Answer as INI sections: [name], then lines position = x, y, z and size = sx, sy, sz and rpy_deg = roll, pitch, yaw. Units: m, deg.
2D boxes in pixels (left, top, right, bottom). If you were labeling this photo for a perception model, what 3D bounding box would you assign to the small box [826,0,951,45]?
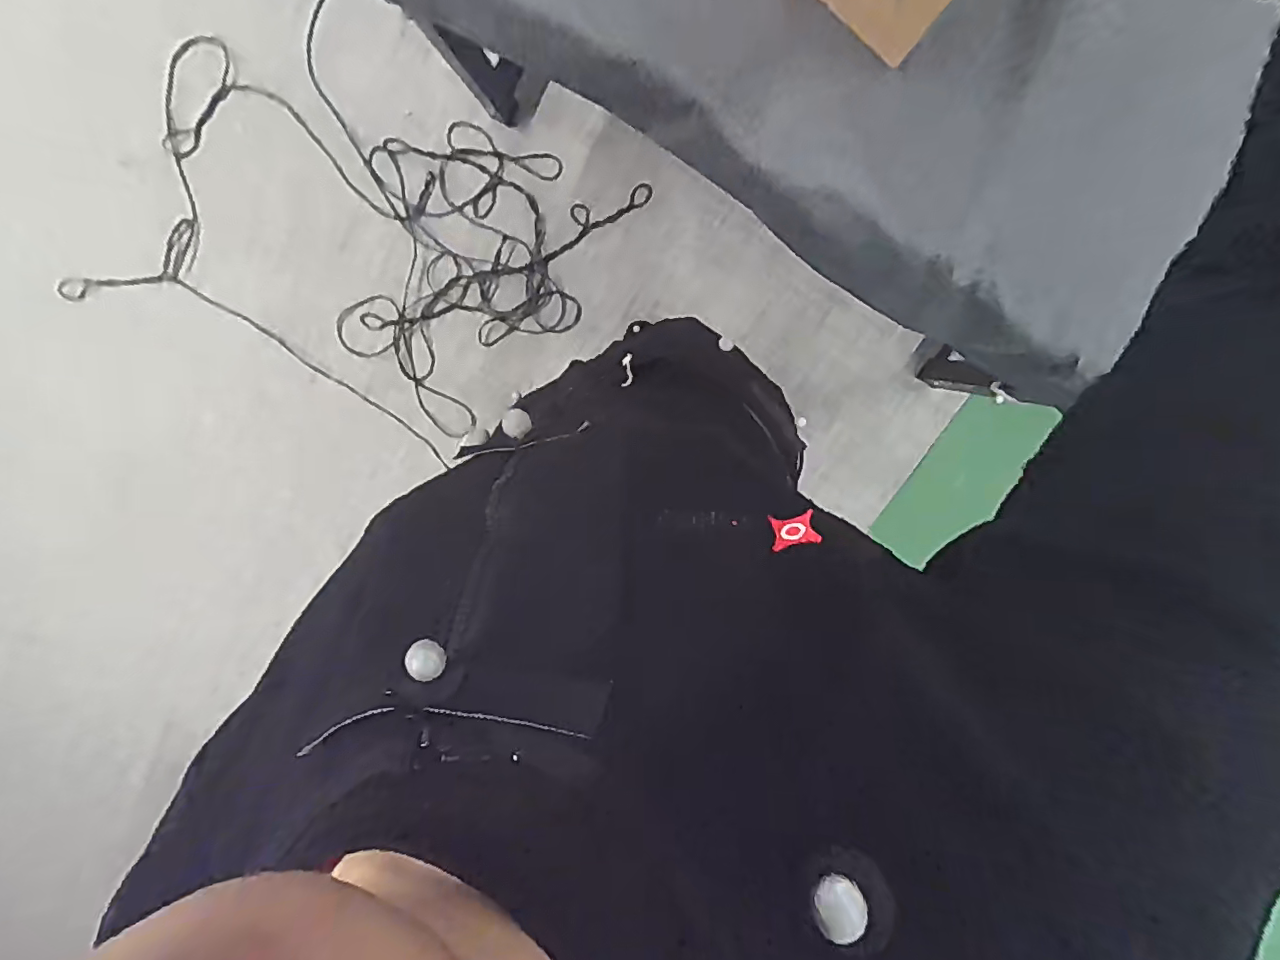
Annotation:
[small box]
position = 0.214, -0.473, 0.392
size = 0.179, 0.176, 0.168
rpy_deg = 38, 102, -6
